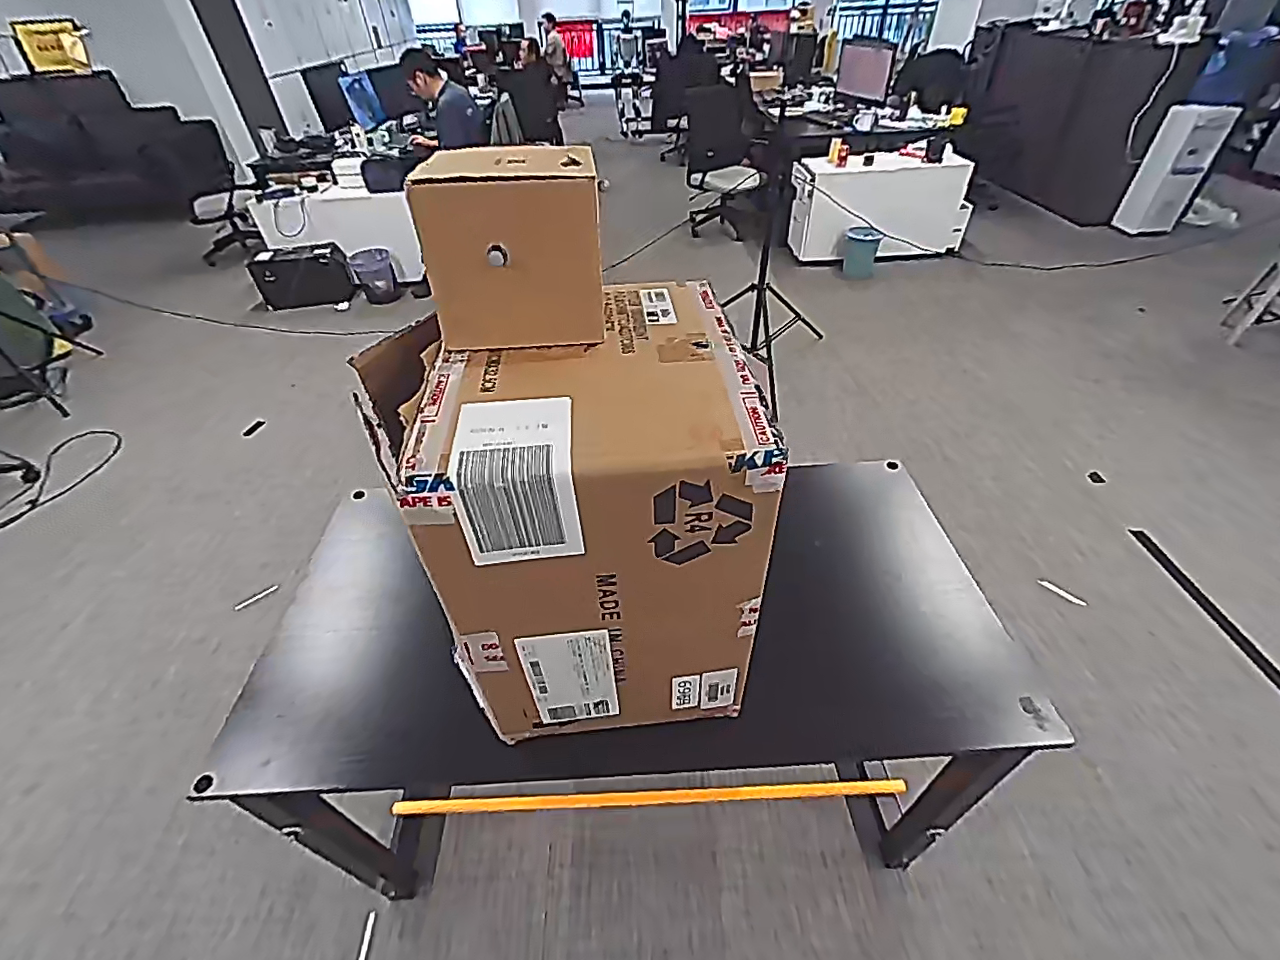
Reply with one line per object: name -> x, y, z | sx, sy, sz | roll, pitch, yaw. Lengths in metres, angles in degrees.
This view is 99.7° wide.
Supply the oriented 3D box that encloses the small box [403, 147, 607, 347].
small box -> -0.133, -0.258, 0.602 | 0.179, 0.176, 0.168 | -5, 40, -4
